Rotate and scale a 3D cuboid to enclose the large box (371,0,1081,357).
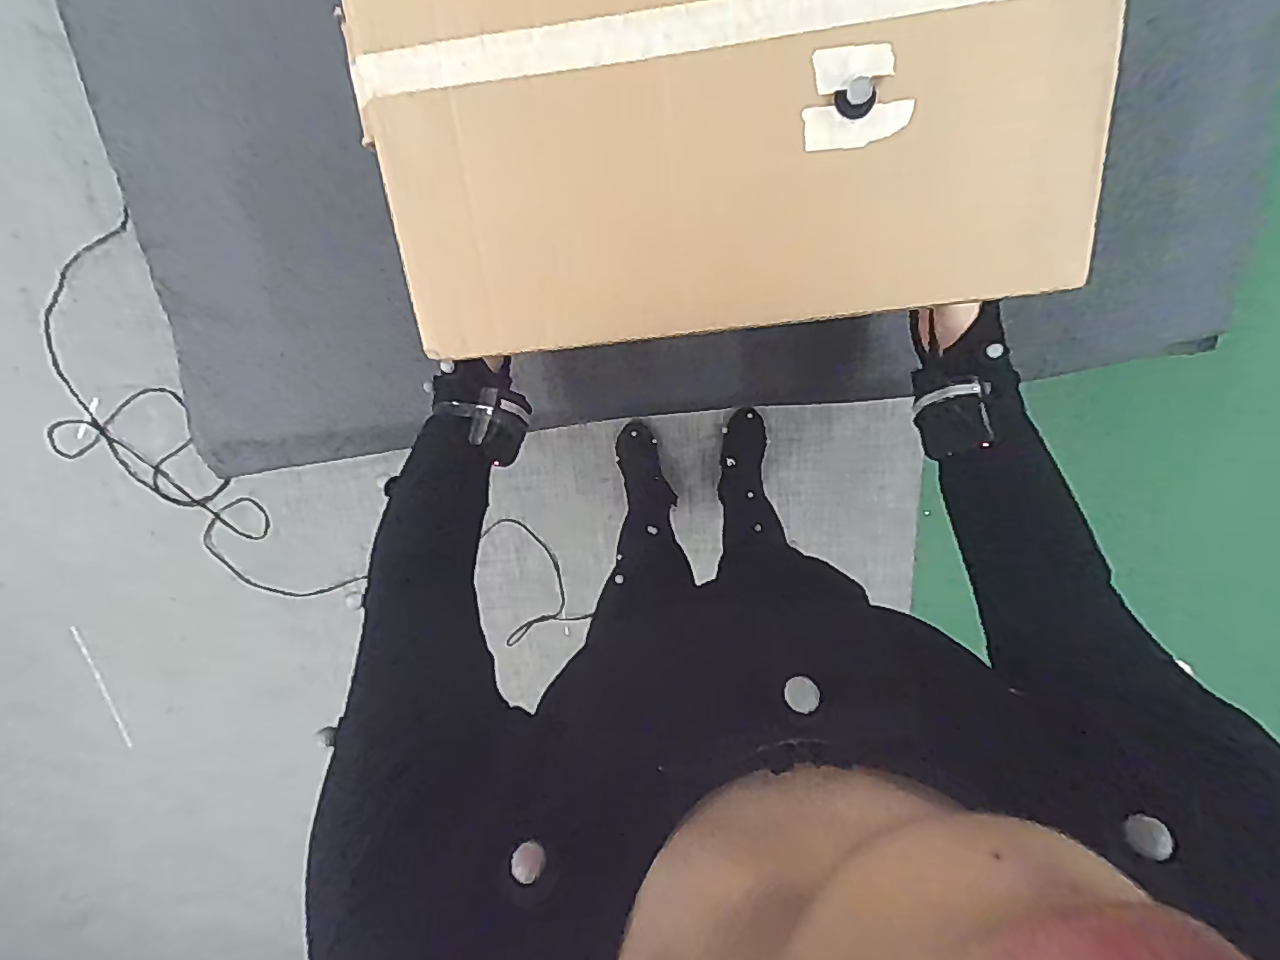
[{"bbox_3d":[0.050,-0.291,0.454,0.408,0.320,0.320,-6,106,3],"label":"large box"}]
